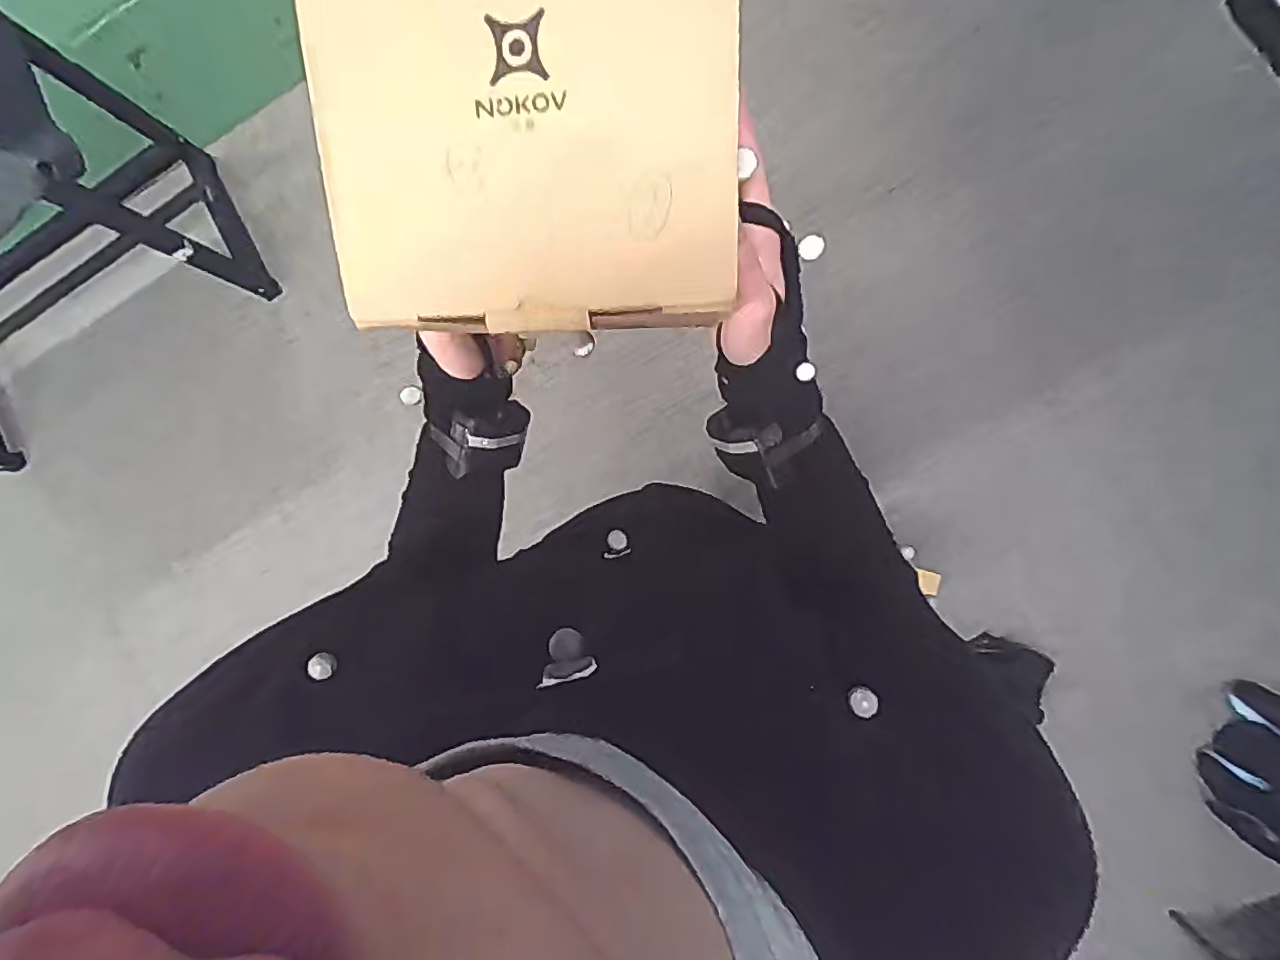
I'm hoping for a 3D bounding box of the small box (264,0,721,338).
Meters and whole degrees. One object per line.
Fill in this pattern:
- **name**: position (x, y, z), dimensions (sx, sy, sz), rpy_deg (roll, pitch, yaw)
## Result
- **small box**: position (-0.046, -0.166, 0.272), dimensions (0.168, 0.176, 0.179), rpy_deg (-1, 105, 4)
